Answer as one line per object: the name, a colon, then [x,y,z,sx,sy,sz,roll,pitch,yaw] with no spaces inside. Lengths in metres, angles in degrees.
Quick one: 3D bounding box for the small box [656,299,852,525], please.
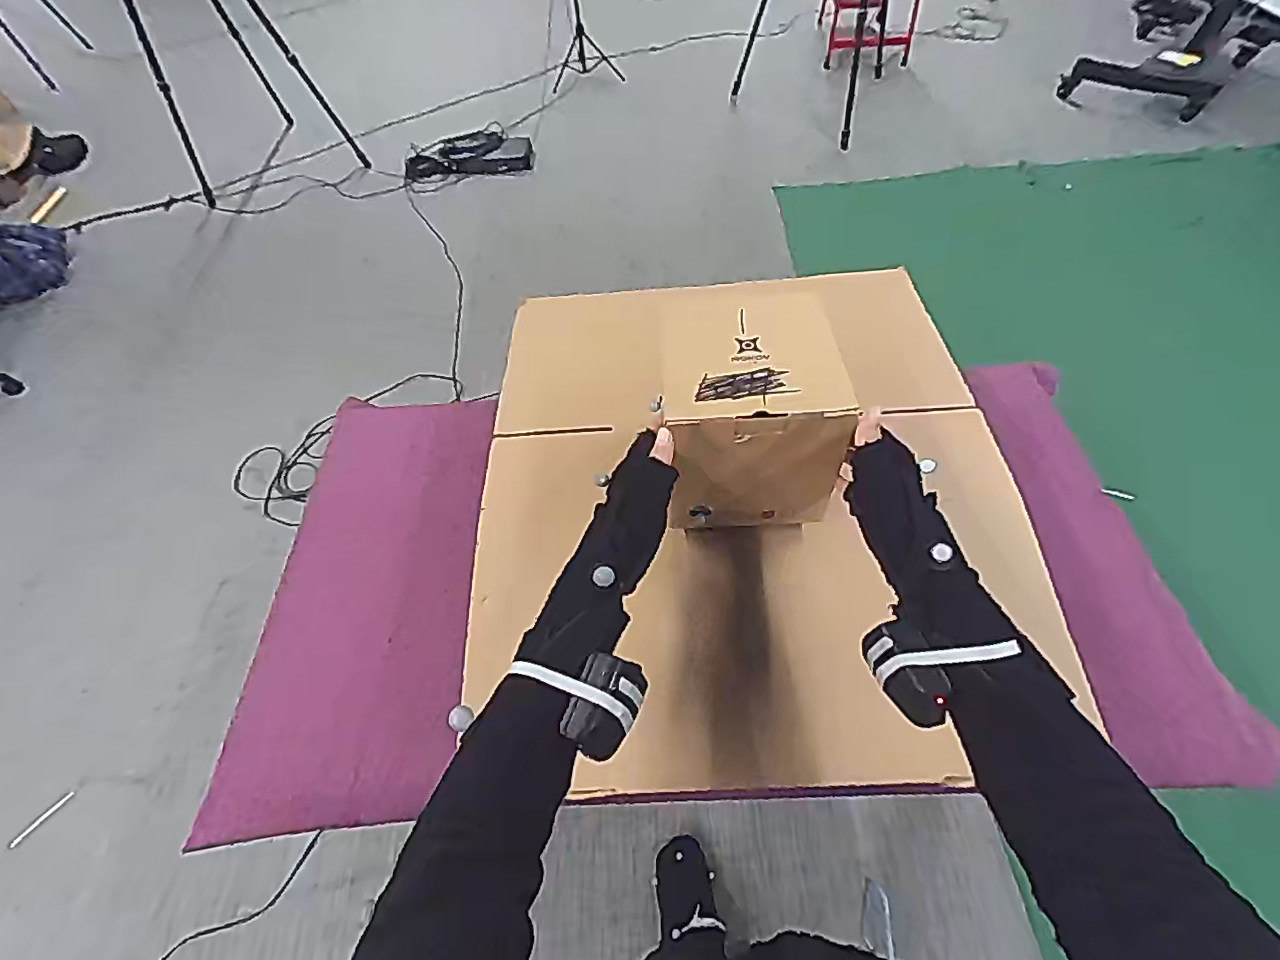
small box: [0.105,-0.063,0.571,0.168,0.176,0.179,-3,51,3]
